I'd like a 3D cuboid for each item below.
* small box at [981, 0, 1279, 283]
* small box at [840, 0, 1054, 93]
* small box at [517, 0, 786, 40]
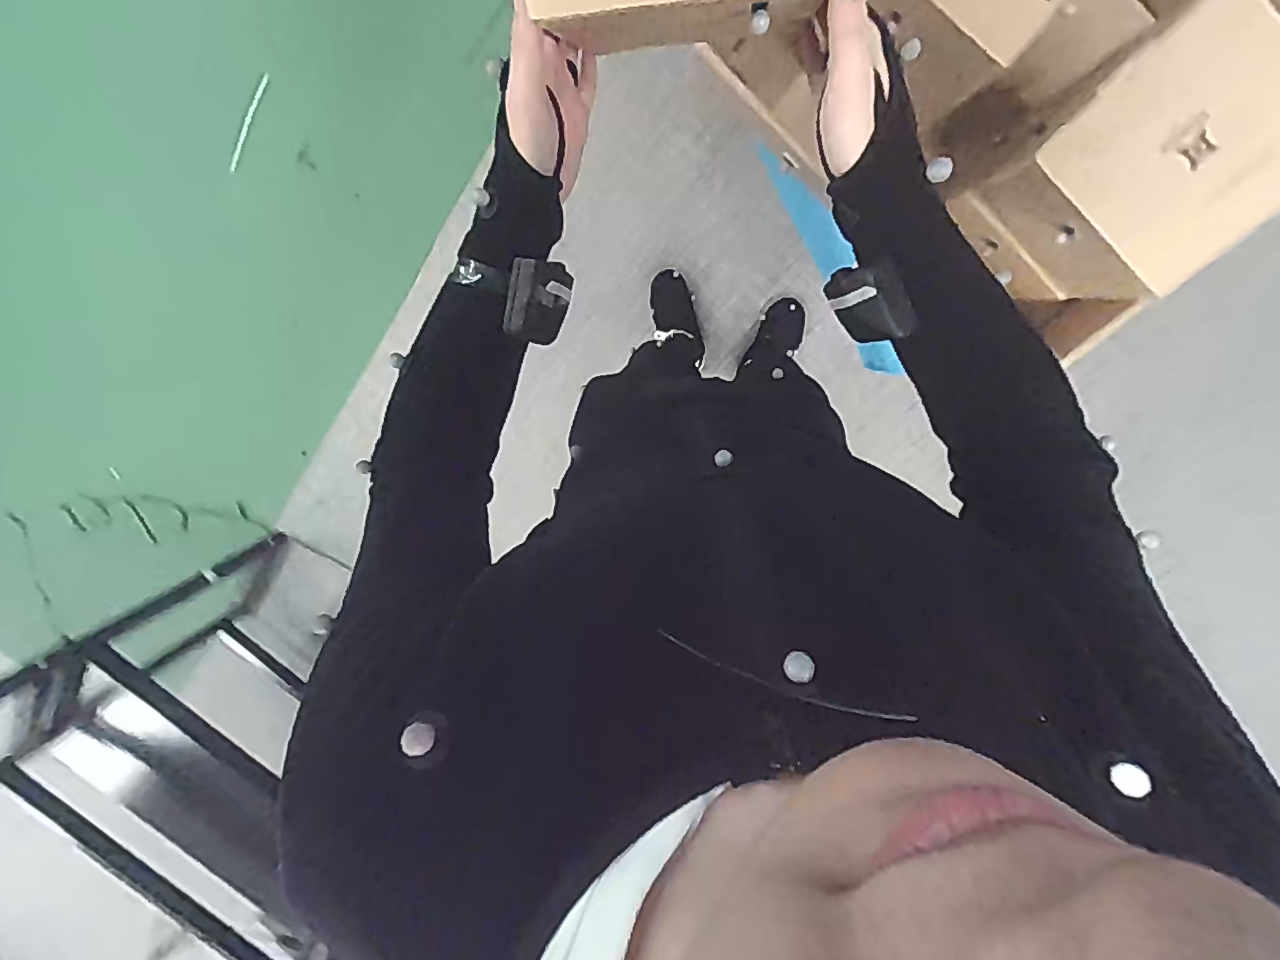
[{"bbox_3d":[0.469,-0.307,0.509,0.179,0.176,0.168,45,114,-6],"label":"small box"},{"bbox_3d":[0.300,-0.489,0.477,0.179,0.176,0.168,38,115,-5],"label":"small box"},{"bbox_3d":[0.016,-0.383,0.321,0.179,0.176,0.168,-1,124,9],"label":"small box"}]
